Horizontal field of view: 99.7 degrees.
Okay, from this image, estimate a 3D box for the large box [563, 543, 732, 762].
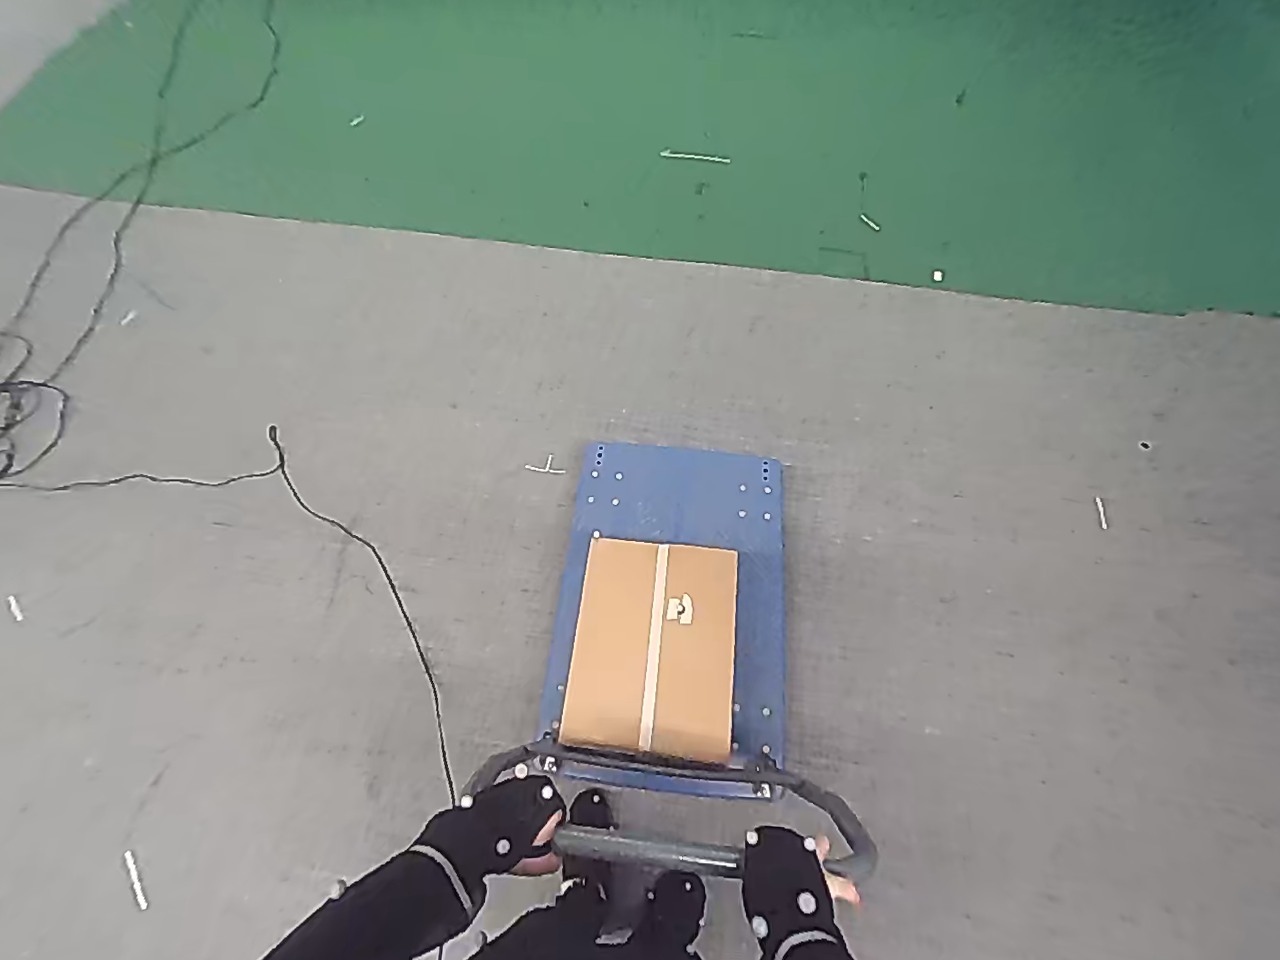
[{"bbox_3d":[0.030,0.393,1.205,0.320,0.320,0.408,5,63,4],"label":"large box"}]
